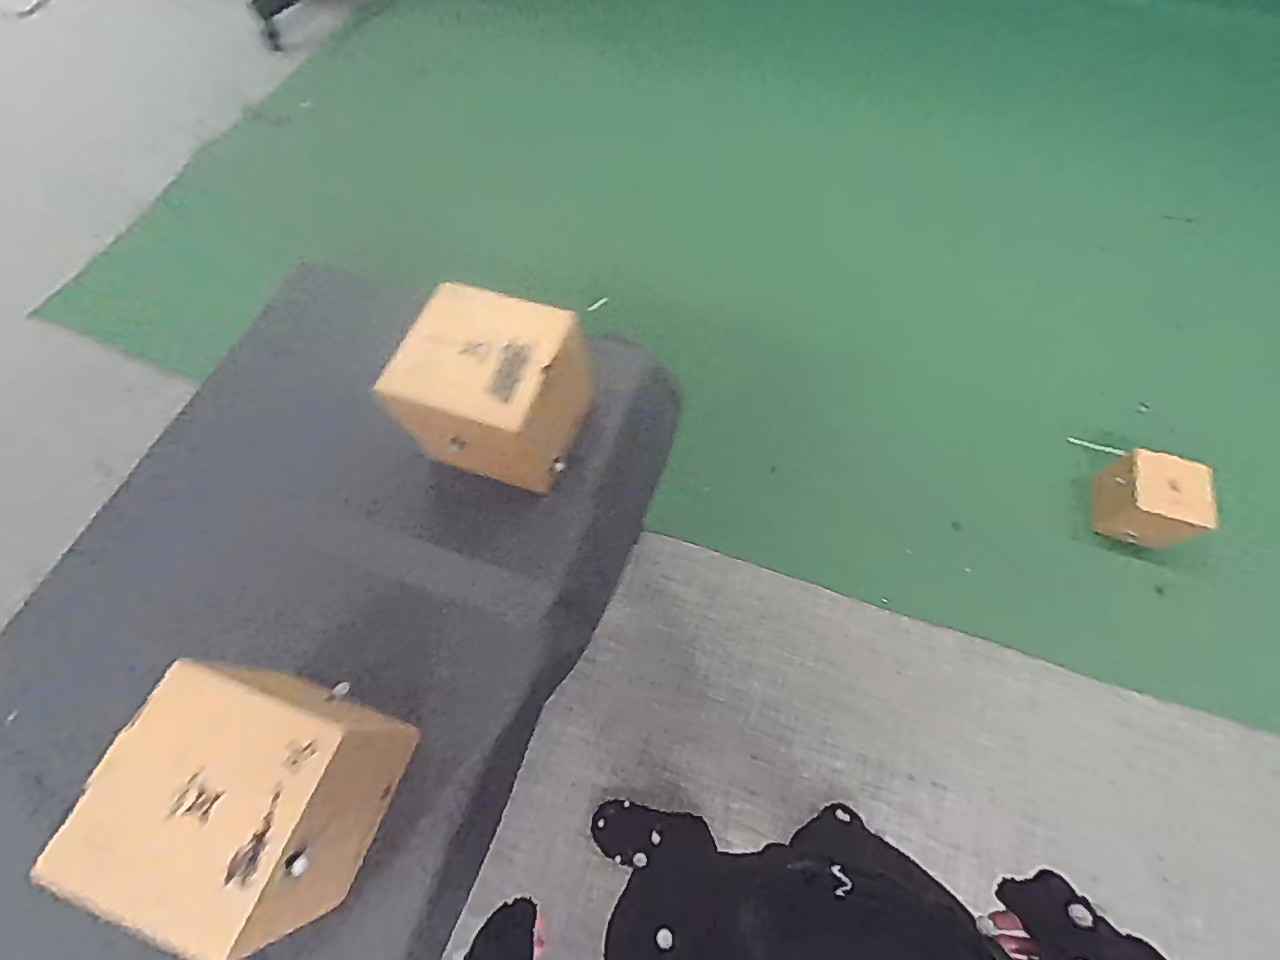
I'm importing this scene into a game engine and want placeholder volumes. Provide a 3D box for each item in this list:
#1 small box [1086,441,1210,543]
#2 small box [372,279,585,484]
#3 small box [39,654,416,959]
[{"bbox_3d":[1.277,0.034,1.370,0.168,0.176,0.179,18,67,11],"label":"small box"},{"bbox_3d":[-0.181,-0.112,0.673,0.179,0.176,0.168,17,67,10],"label":"small box"},{"bbox_3d":[-0.347,0.279,0.498,0.179,0.176,0.168,17,67,9],"label":"small box"}]
